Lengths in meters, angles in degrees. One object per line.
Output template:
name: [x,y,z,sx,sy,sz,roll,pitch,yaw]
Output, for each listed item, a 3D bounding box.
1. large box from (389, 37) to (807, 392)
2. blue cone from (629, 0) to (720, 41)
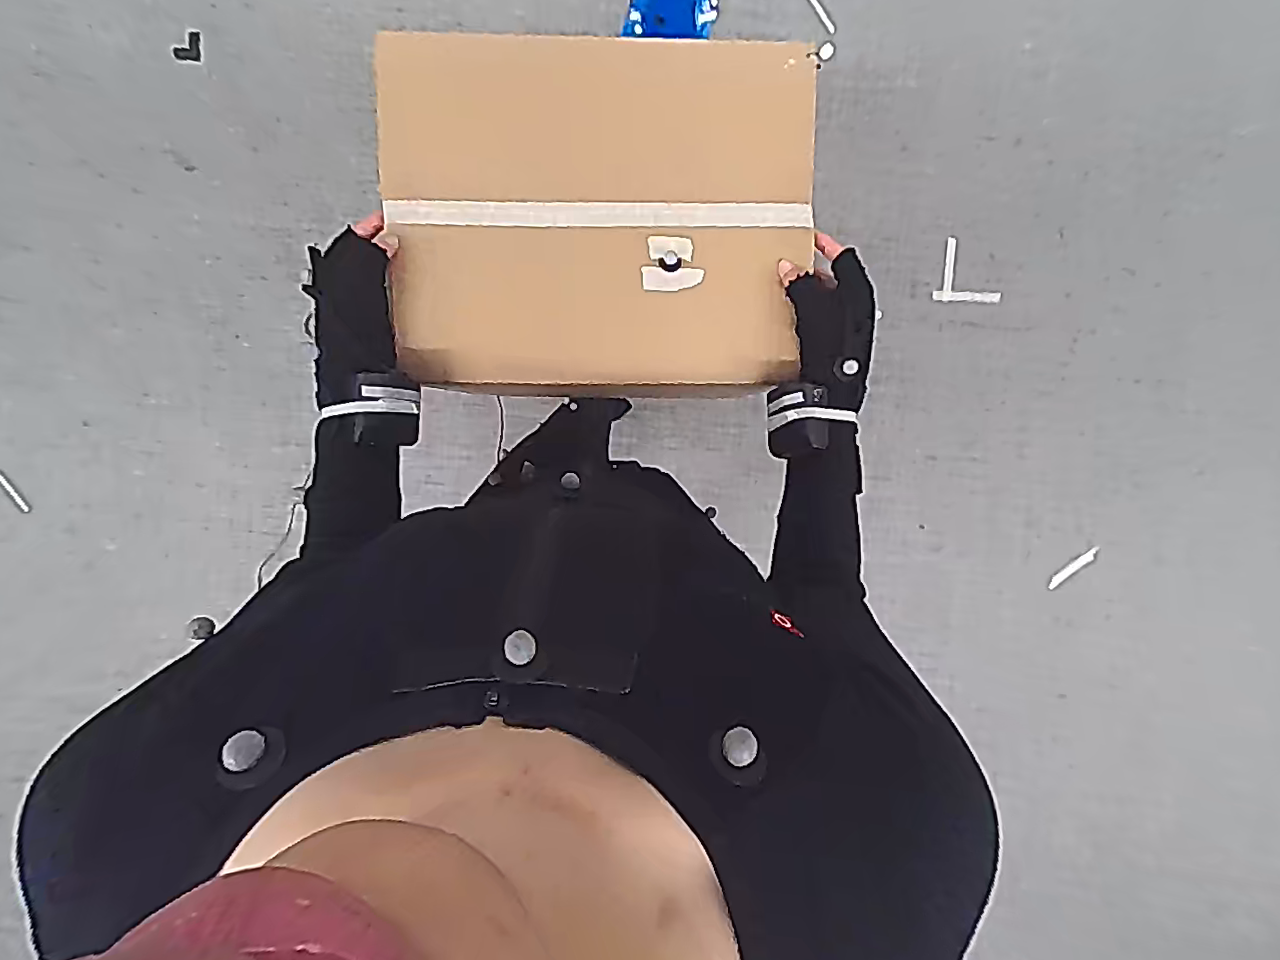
large box: [-0.043,-0.278,0.673,0.408,0.320,0.320,0,96,-2]
blue cone: [0.083,-1.133,1.185,0.193,0.380,0.192,26,96,-2]
